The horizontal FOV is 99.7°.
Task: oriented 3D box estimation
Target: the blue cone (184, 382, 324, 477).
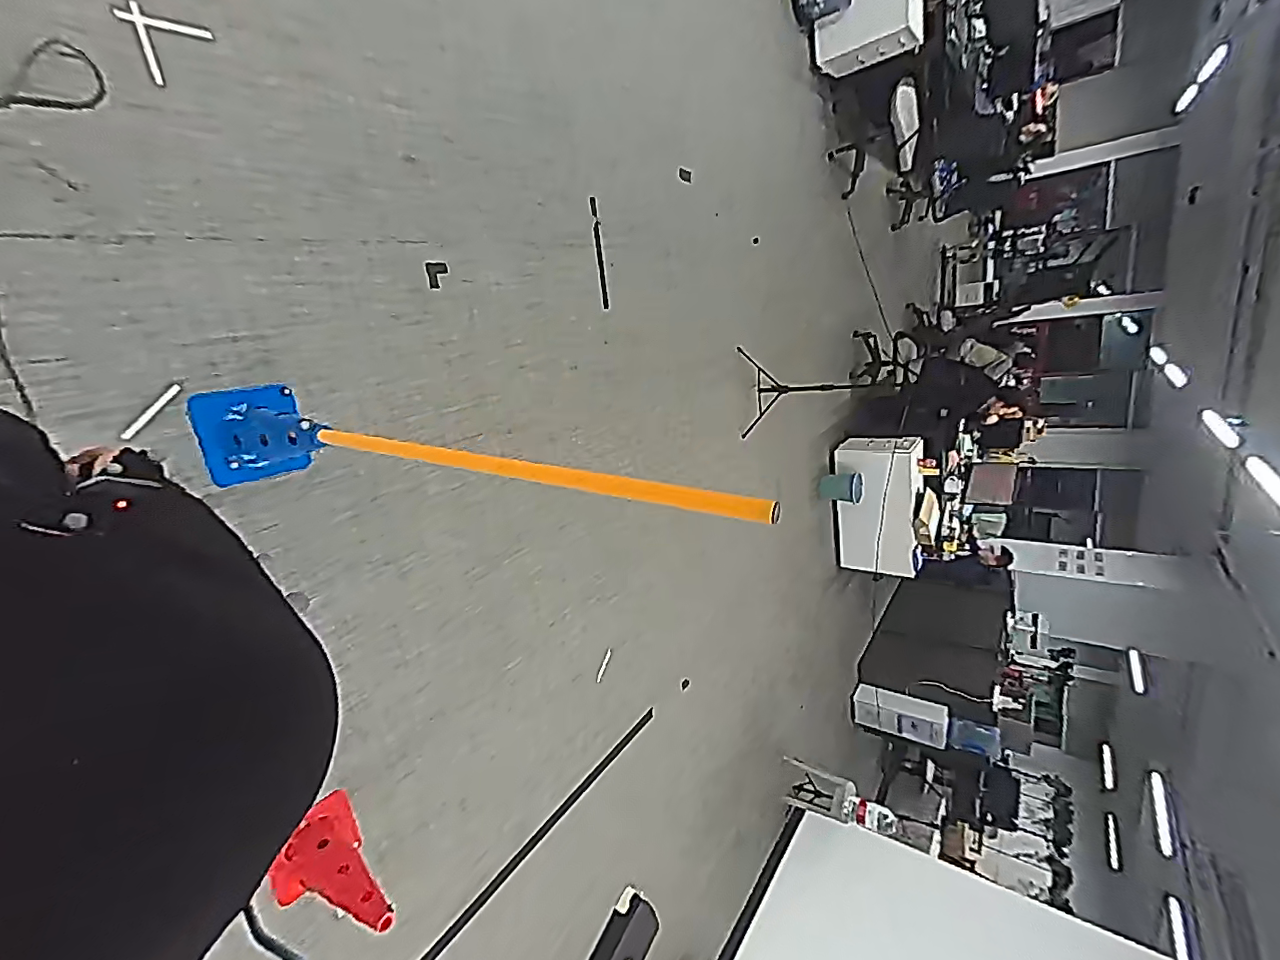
[{"bbox_3d":[-0.730,-0.103,1.085,0.193,0.380,0.192,-23,110,-50],"label":"blue cone"}]
